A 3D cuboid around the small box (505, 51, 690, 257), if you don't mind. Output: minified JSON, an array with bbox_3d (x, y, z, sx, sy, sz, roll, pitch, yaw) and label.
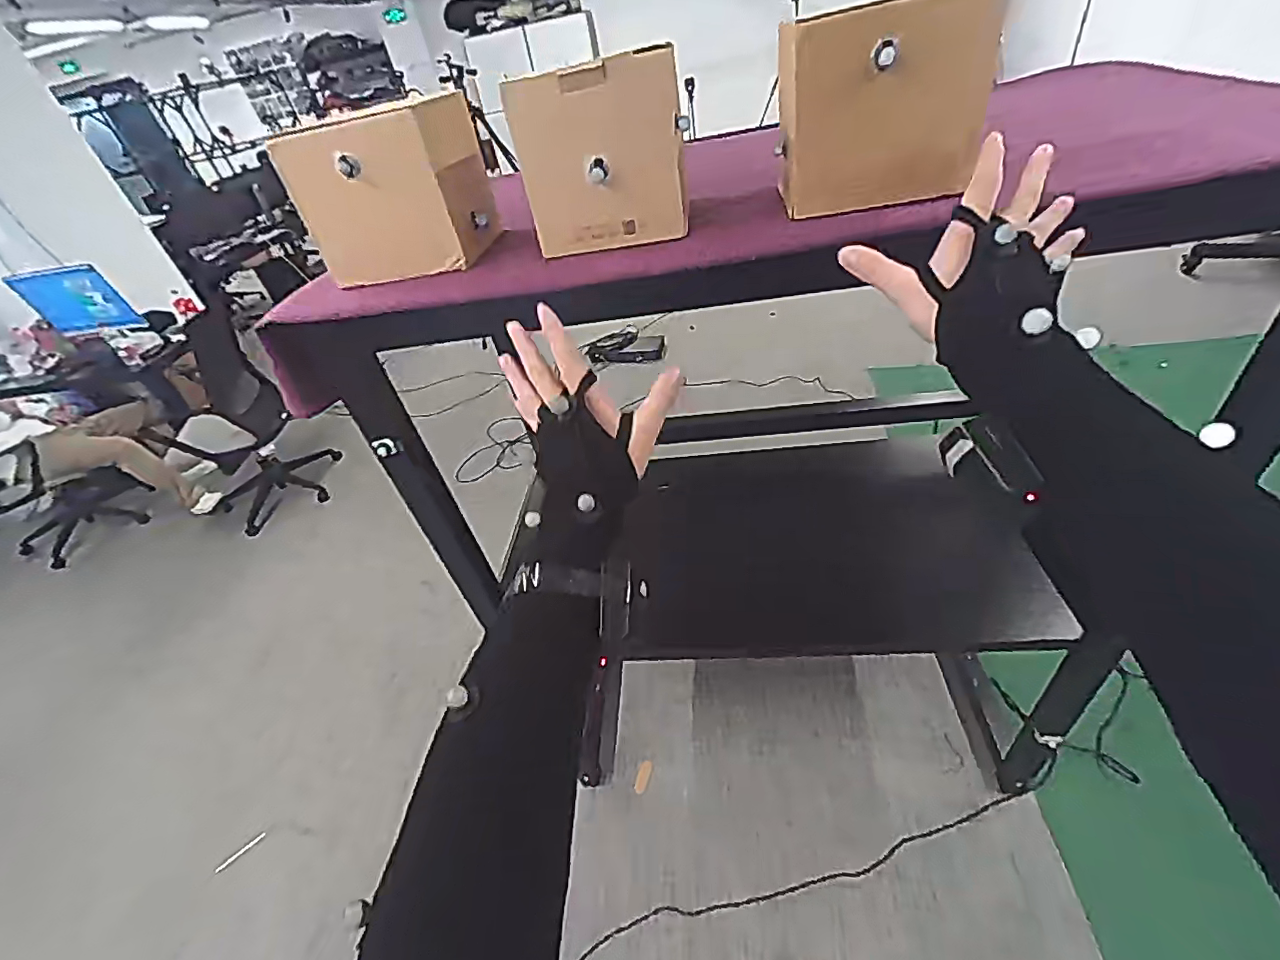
[{"bbox_3d":[-0.033,-0.370,0.626,0.168,0.176,0.179,-4,39,10],"label":"small box"}]

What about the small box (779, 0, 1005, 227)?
[{"bbox_3d":[0.245,-0.390,0.577,0.179,0.176,0.168,-5,38,12],"label":"small box"}]

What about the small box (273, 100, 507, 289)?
[{"bbox_3d":[-0.290,-0.351,0.673,0.179,0.176,0.168,-5,40,8],"label":"small box"}]
